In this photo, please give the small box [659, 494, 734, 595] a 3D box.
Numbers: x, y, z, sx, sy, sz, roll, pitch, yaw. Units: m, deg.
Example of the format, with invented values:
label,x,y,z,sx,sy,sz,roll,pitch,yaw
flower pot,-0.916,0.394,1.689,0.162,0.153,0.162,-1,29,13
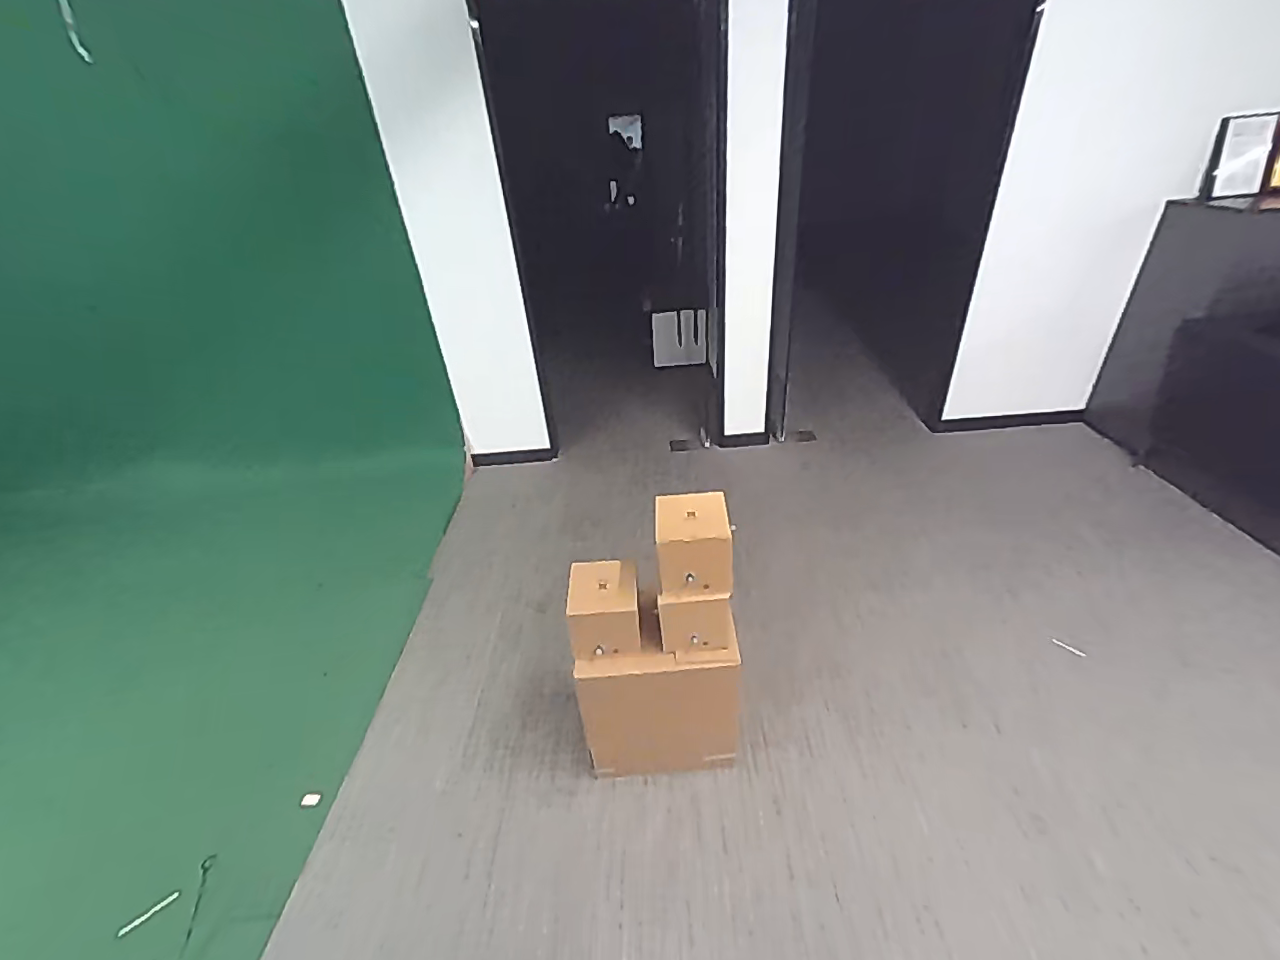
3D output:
label,x,y,z,sx,sy,sz,roll,pitch,yaw
small box,0.131,0.151,1.285,0.168,0.176,0.179,-4,32,4
